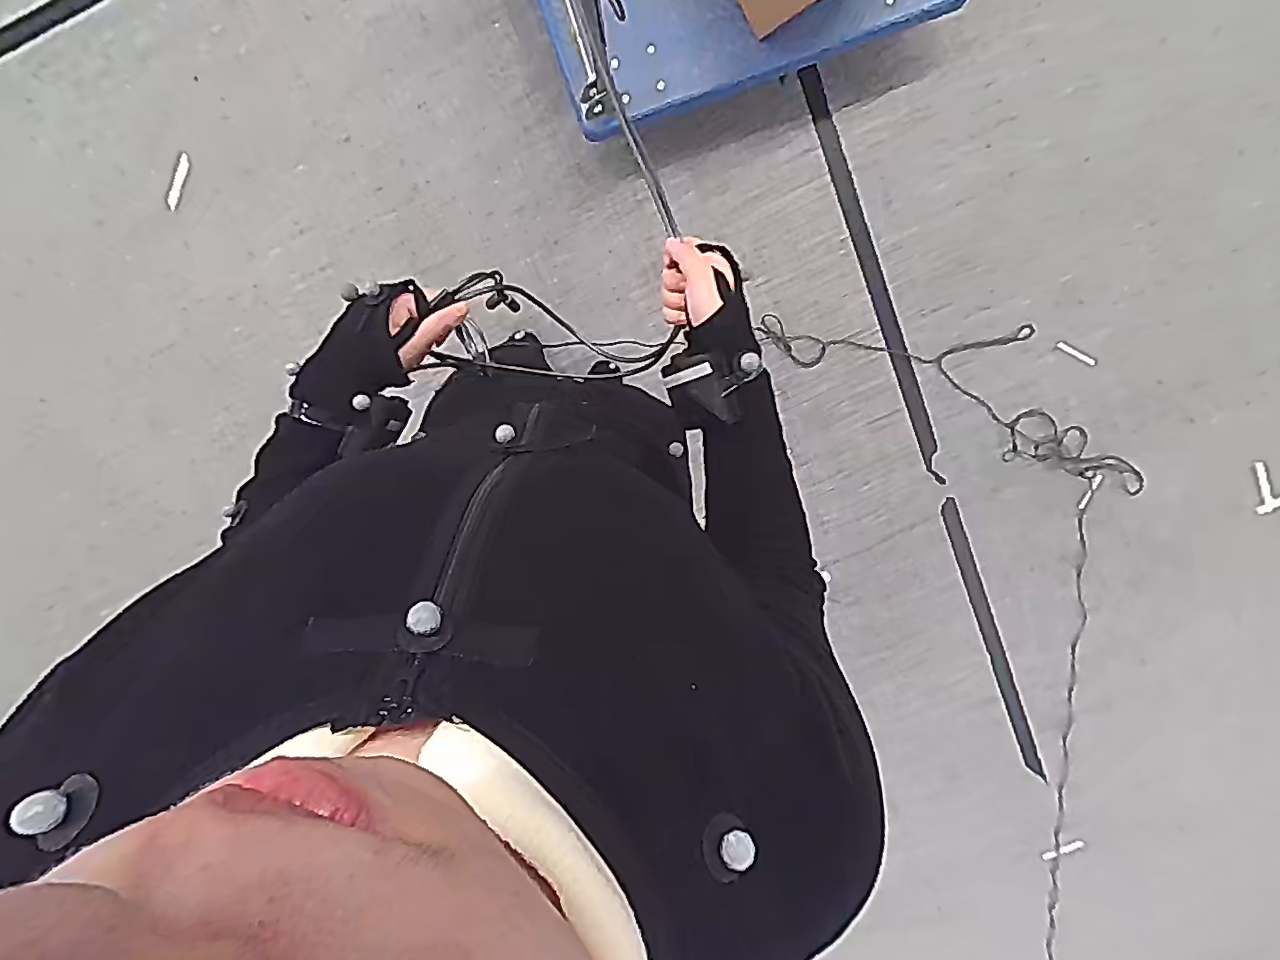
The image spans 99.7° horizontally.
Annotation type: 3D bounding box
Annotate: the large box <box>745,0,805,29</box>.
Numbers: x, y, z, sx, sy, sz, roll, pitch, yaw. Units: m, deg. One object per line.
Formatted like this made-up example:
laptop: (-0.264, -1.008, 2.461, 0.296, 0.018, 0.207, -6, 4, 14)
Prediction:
large box: (0.270, -1.130, 0.916, 0.320, 0.320, 0.408, -33, 102, 6)
